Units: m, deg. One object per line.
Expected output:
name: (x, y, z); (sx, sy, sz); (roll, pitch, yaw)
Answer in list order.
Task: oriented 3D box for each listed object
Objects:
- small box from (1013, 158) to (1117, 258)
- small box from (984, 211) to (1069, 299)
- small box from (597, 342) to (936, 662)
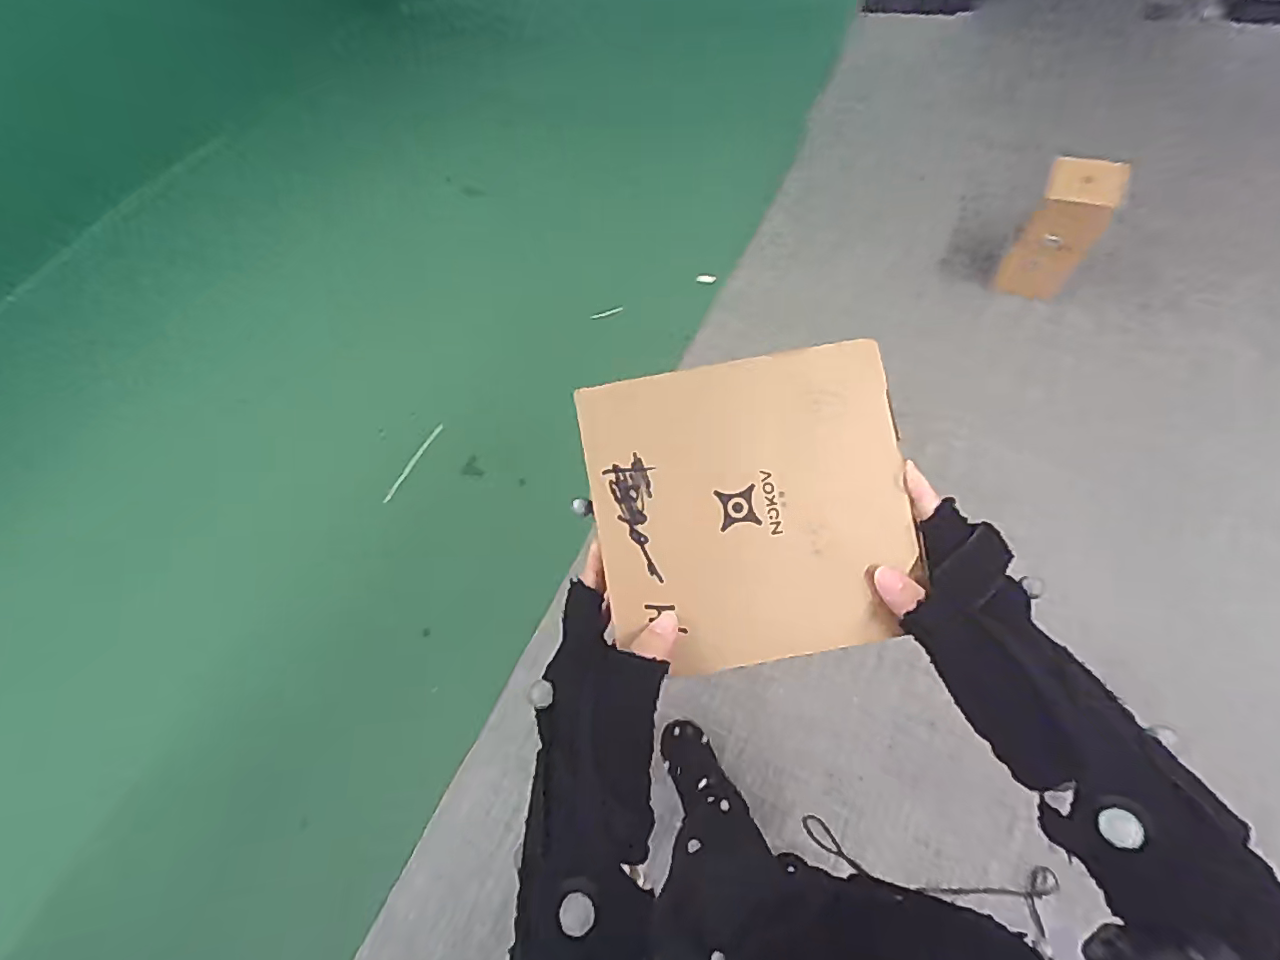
small box: (1.173, -0.754, 1.502); (0.168, 0.176, 0.179); (20, 69, 21)
small box: (1.185, -0.680, 1.645); (0.179, 0.176, 0.168); (23, 69, 20)
small box: (0.070, 0.017, 0.388); (0.179, 0.176, 0.168); (-9, 85, 0)
